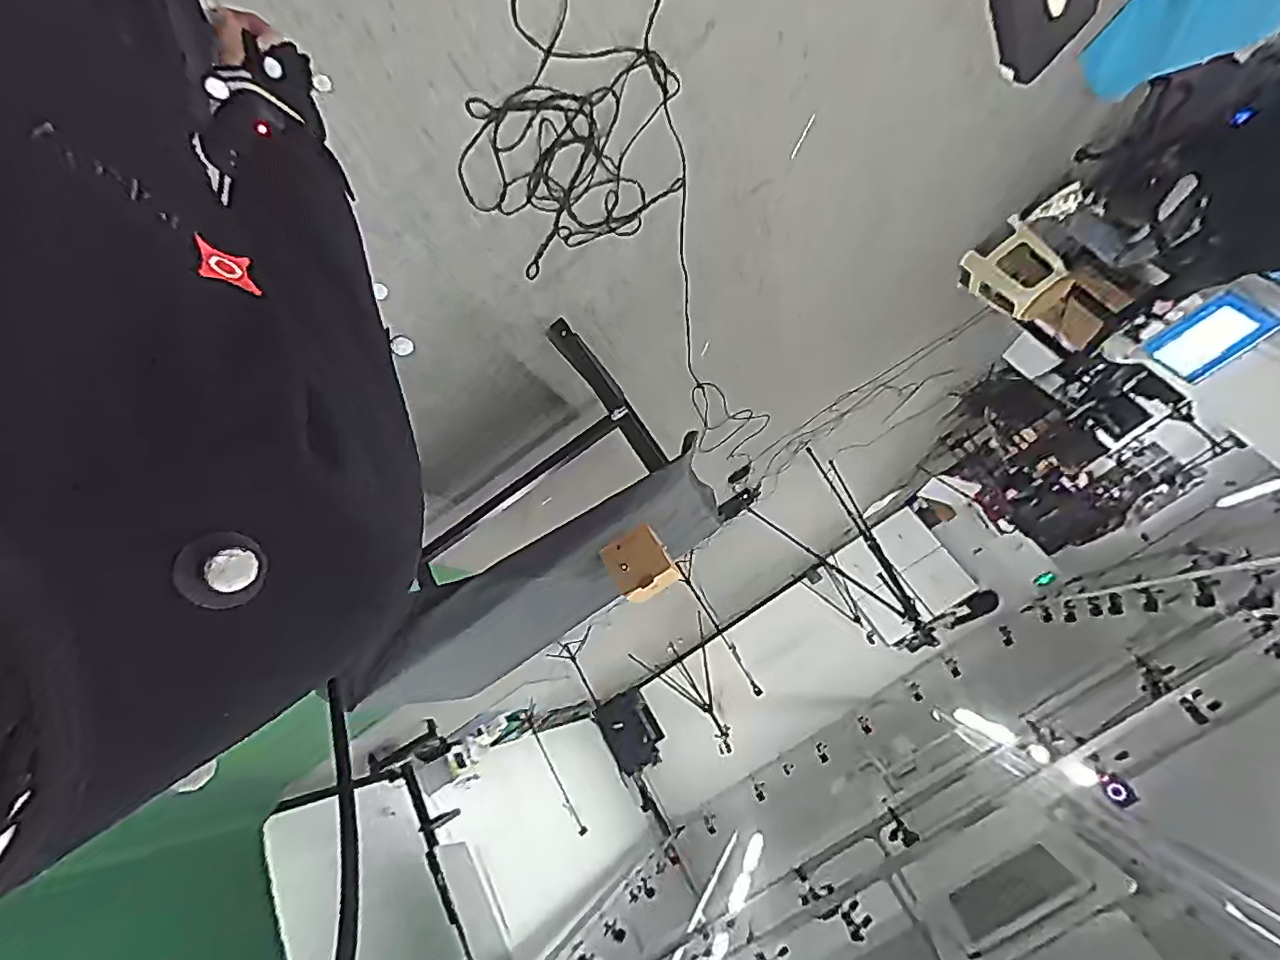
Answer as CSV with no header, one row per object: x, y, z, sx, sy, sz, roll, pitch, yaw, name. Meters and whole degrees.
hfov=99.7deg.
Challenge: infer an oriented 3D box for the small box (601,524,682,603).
0.003,0.254,1.646,0.168,0.176,0.179,-33,158,3,small box
